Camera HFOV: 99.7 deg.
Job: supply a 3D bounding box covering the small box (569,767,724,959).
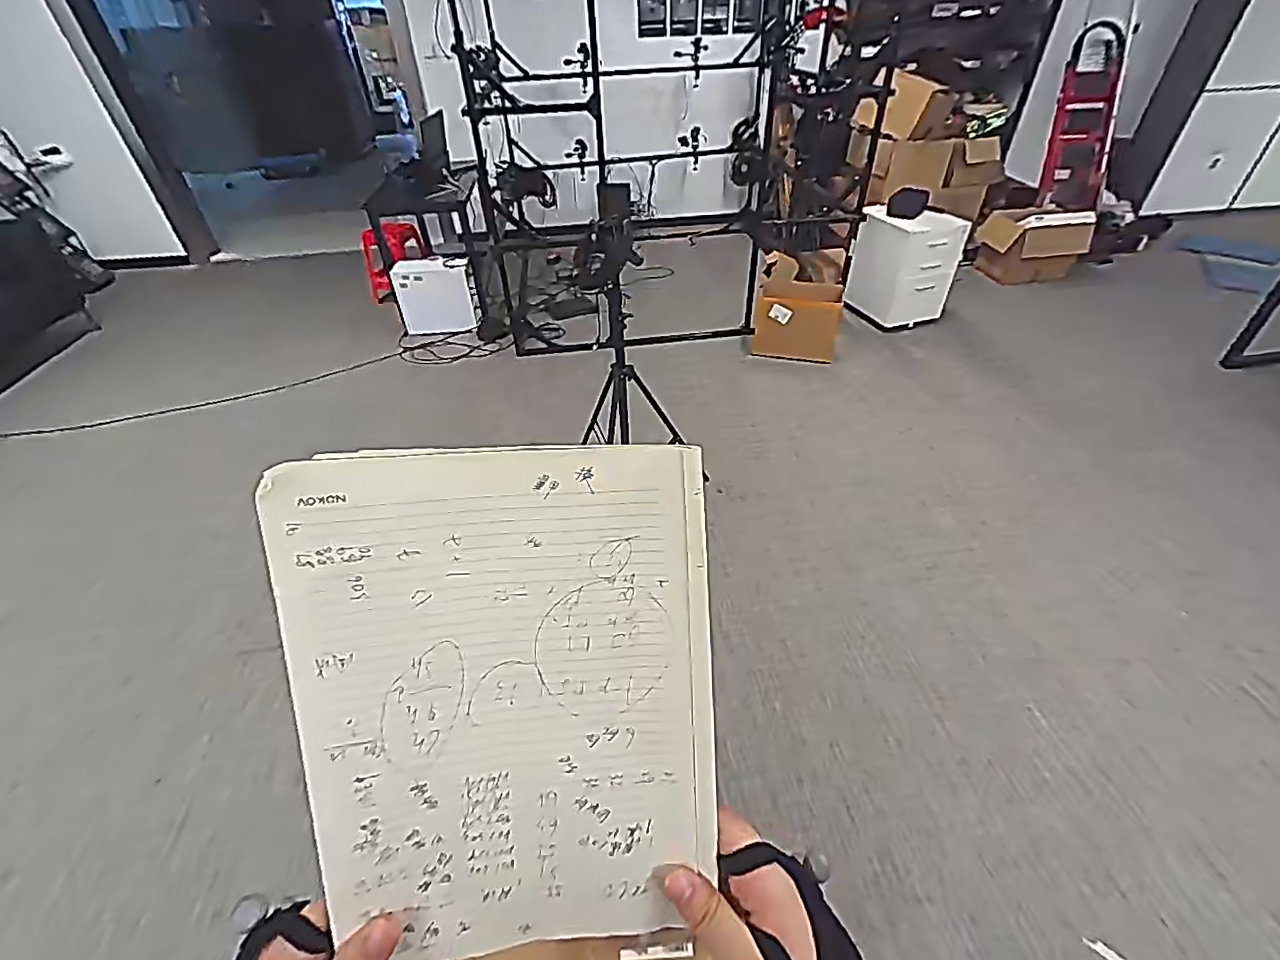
[{"bbox_3d":[0.003,0.483,0.675,0.168,0.176,0.179,0,42,-2],"label":"small box"}]
